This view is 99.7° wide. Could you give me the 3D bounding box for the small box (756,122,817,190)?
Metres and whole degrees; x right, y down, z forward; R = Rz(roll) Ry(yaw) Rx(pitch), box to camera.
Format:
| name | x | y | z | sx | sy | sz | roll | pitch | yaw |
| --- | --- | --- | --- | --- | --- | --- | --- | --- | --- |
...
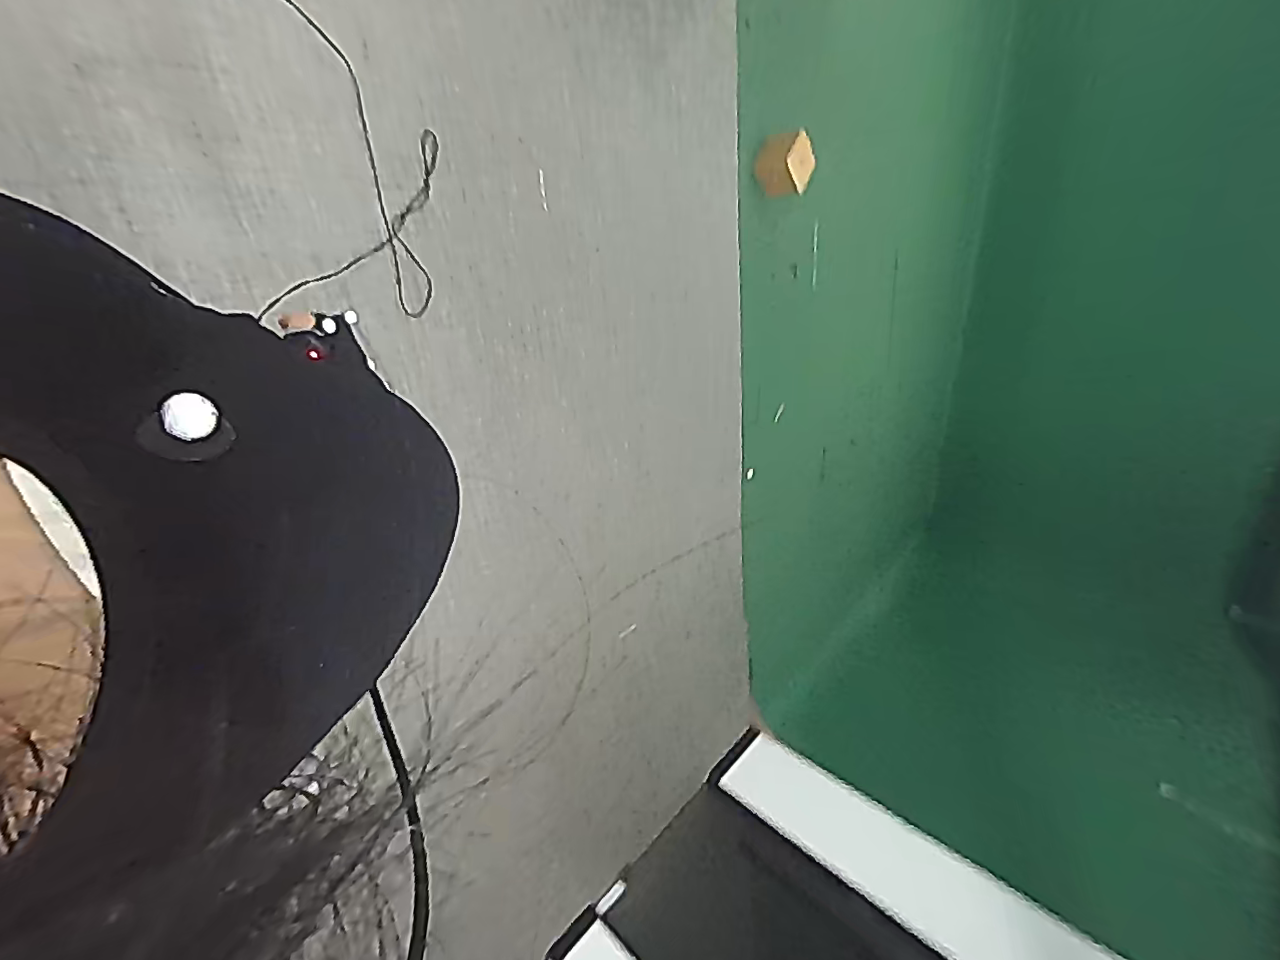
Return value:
| name | x | y | z | sx | sy | sz | roll | pitch | yaw |
| --- | --- | --- | --- | --- | --- | --- | --- | --- | --- |
| small box | 0.612 | -1.359 | 2.281 | 0.168 | 0.176 | 0.179 | 36 | 77 | -46 |
